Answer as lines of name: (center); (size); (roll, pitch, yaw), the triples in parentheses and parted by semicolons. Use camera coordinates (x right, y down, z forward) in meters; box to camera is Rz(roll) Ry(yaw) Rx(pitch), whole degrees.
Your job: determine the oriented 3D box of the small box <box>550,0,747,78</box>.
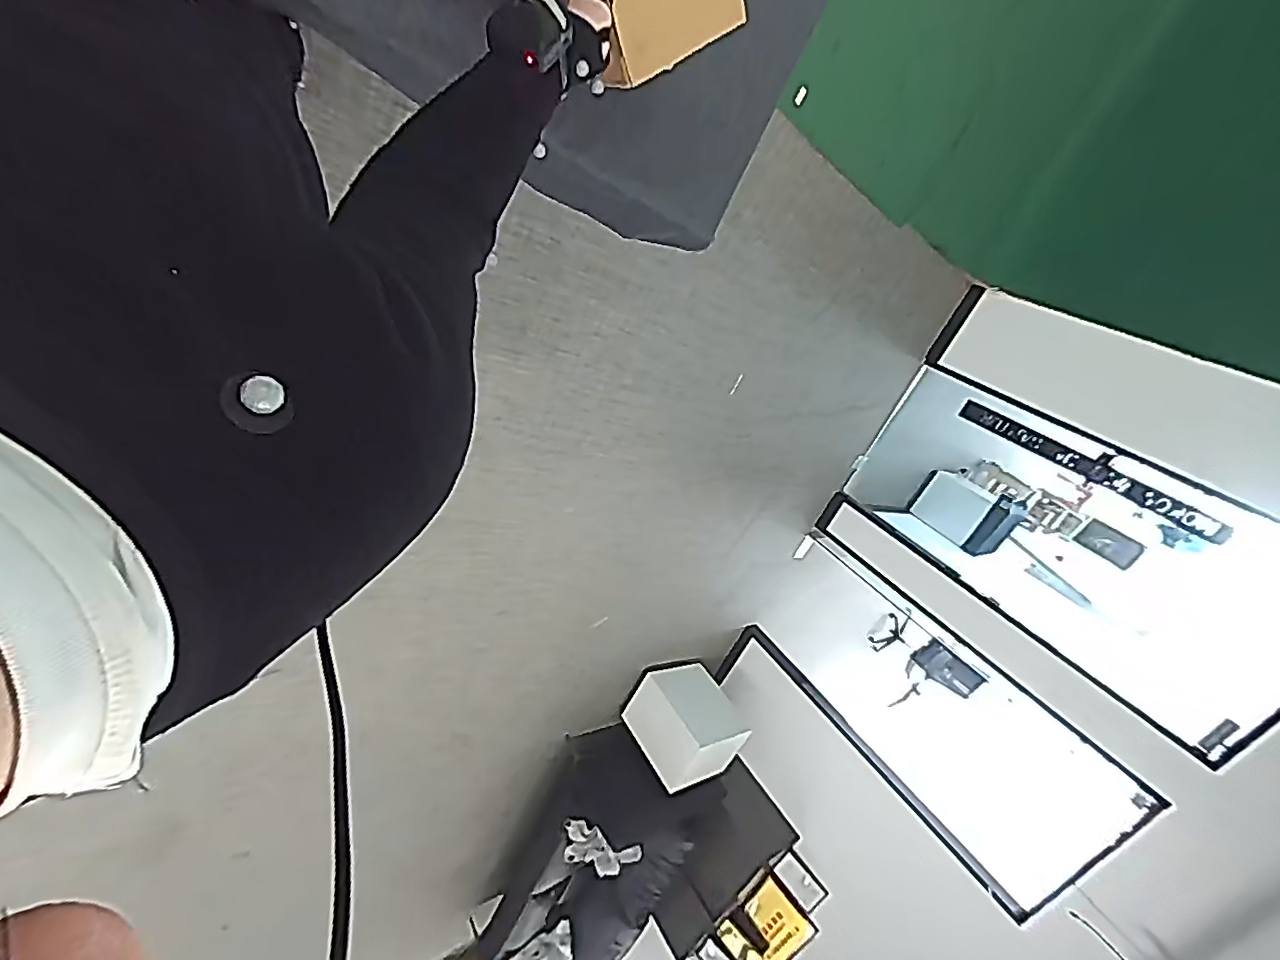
small box: (-0.007, -0.595, 0.616); (0.179, 0.176, 0.168); (-37, 141, -9)
